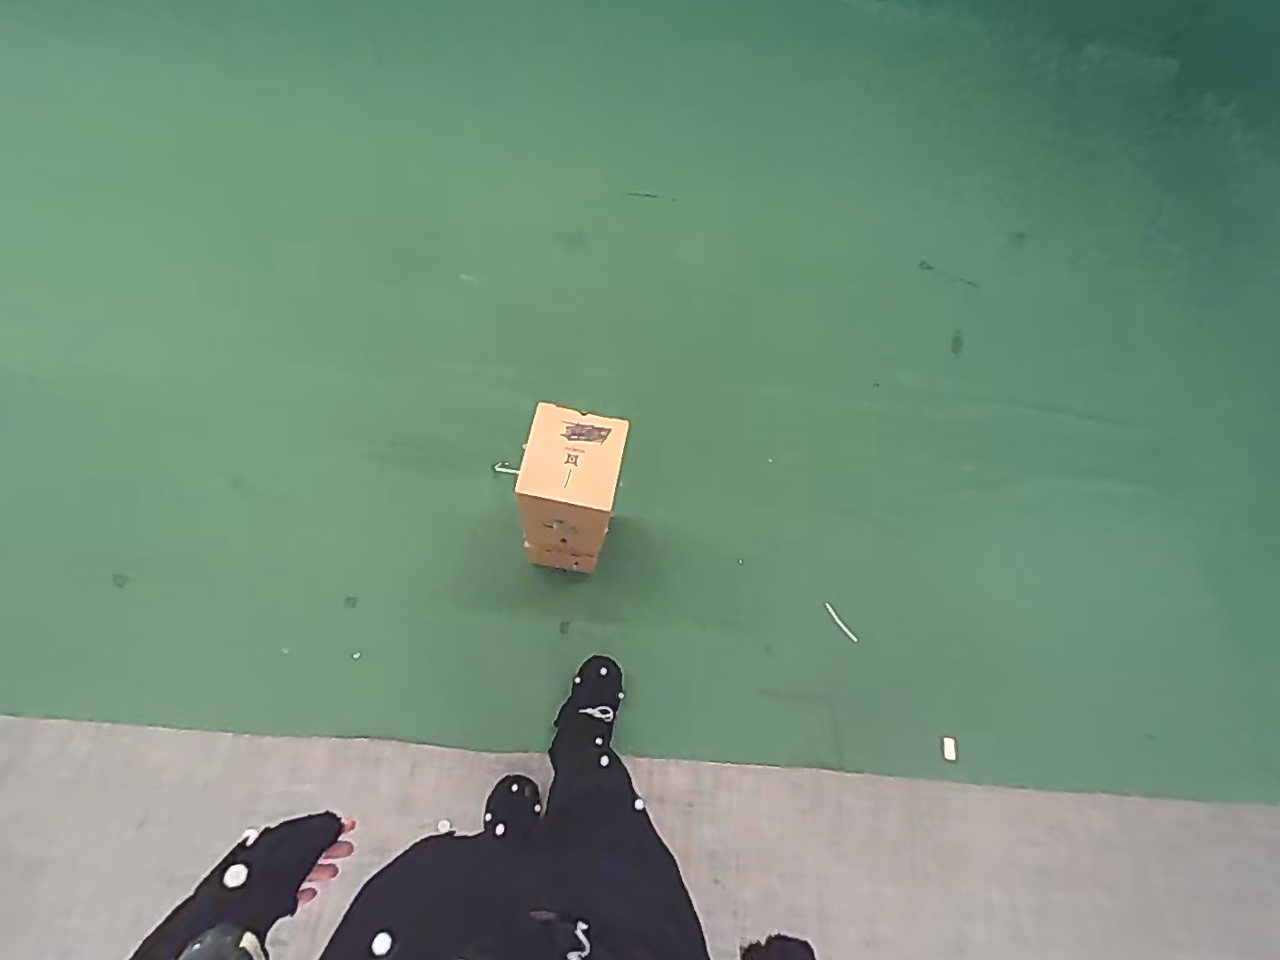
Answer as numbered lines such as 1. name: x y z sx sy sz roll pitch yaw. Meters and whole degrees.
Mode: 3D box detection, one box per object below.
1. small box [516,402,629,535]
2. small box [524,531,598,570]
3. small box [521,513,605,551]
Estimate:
1. small box: -0.125 -0.014 0.999 0.168 0.176 0.179 12 69 -4
2. small box: -0.171 0.104 1.282 0.168 0.176 0.179 13 67 -5
3. small box: -0.147 0.044 1.152 0.168 0.176 0.179 12 69 -5
